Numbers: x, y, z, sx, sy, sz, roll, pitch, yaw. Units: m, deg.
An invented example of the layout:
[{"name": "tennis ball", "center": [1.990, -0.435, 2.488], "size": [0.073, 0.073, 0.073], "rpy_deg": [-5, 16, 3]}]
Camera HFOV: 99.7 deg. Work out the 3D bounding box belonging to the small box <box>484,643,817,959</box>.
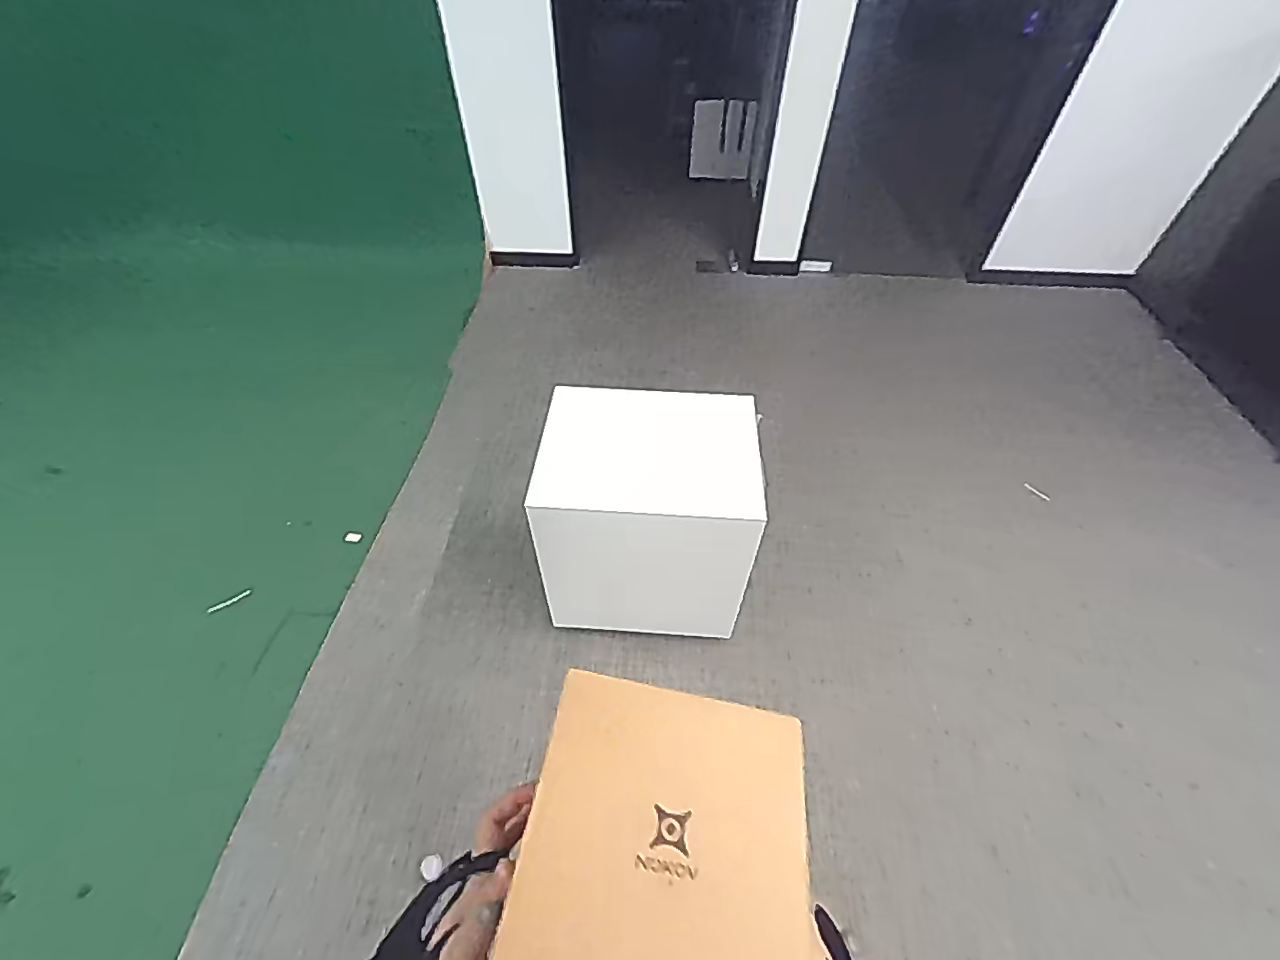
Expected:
[{"name": "small box", "center": [0.005, 0.242, 0.366], "size": [0.168, 0.176, 0.179], "rpy_deg": [11, 45, 0]}]
